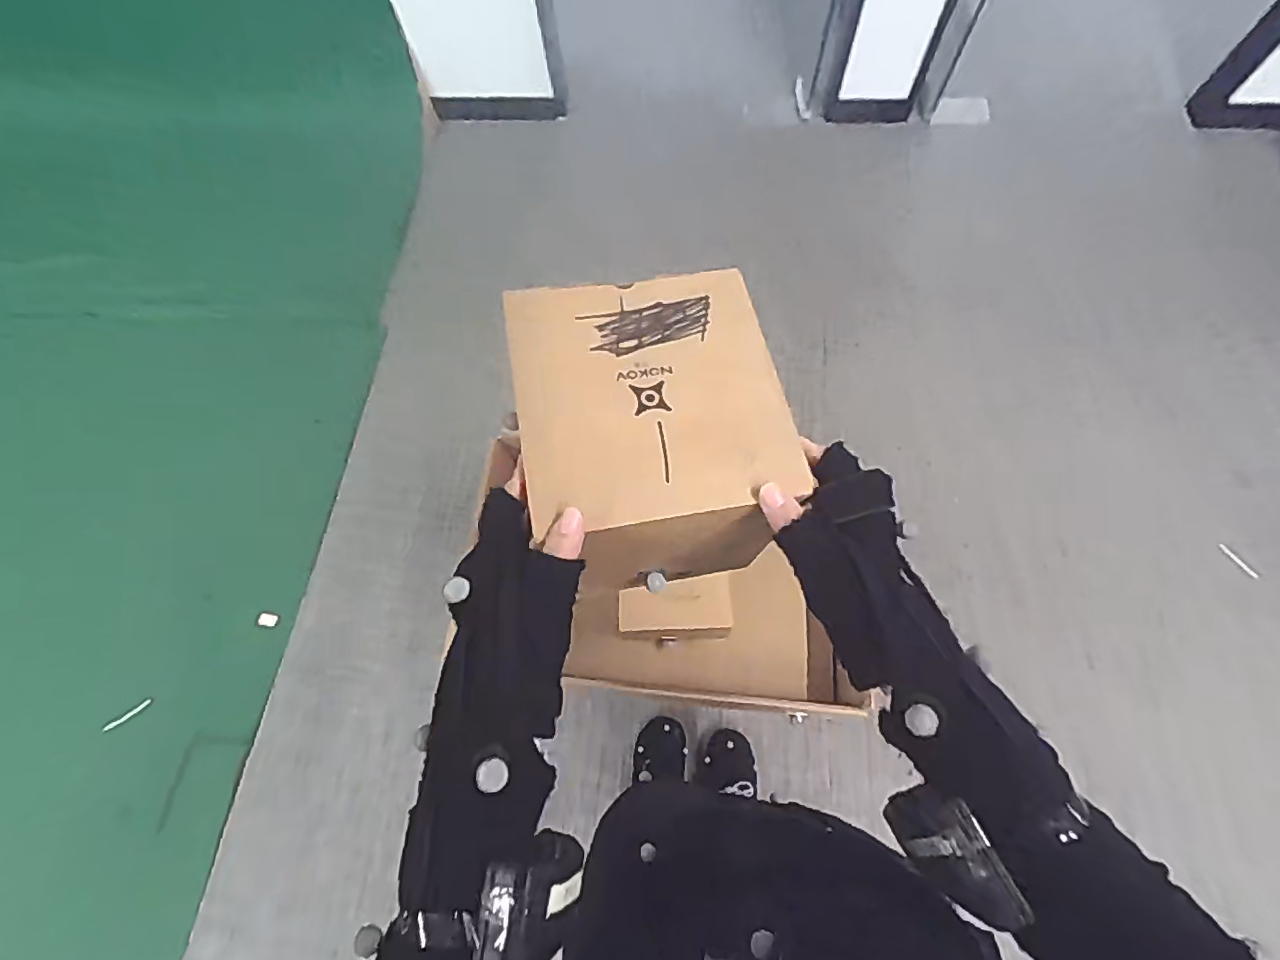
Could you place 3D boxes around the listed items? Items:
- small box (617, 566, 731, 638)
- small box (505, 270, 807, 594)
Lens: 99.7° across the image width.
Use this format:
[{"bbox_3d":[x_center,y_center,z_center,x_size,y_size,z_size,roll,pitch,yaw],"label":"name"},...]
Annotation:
[{"bbox_3d":[0.054,0.157,0.877,0.168,0.176,0.179,-2,69,4],"label":"small box"},{"bbox_3d":[-0.002,-0.027,0.411,0.168,0.176,0.179,-9,68,-7],"label":"small box"}]
